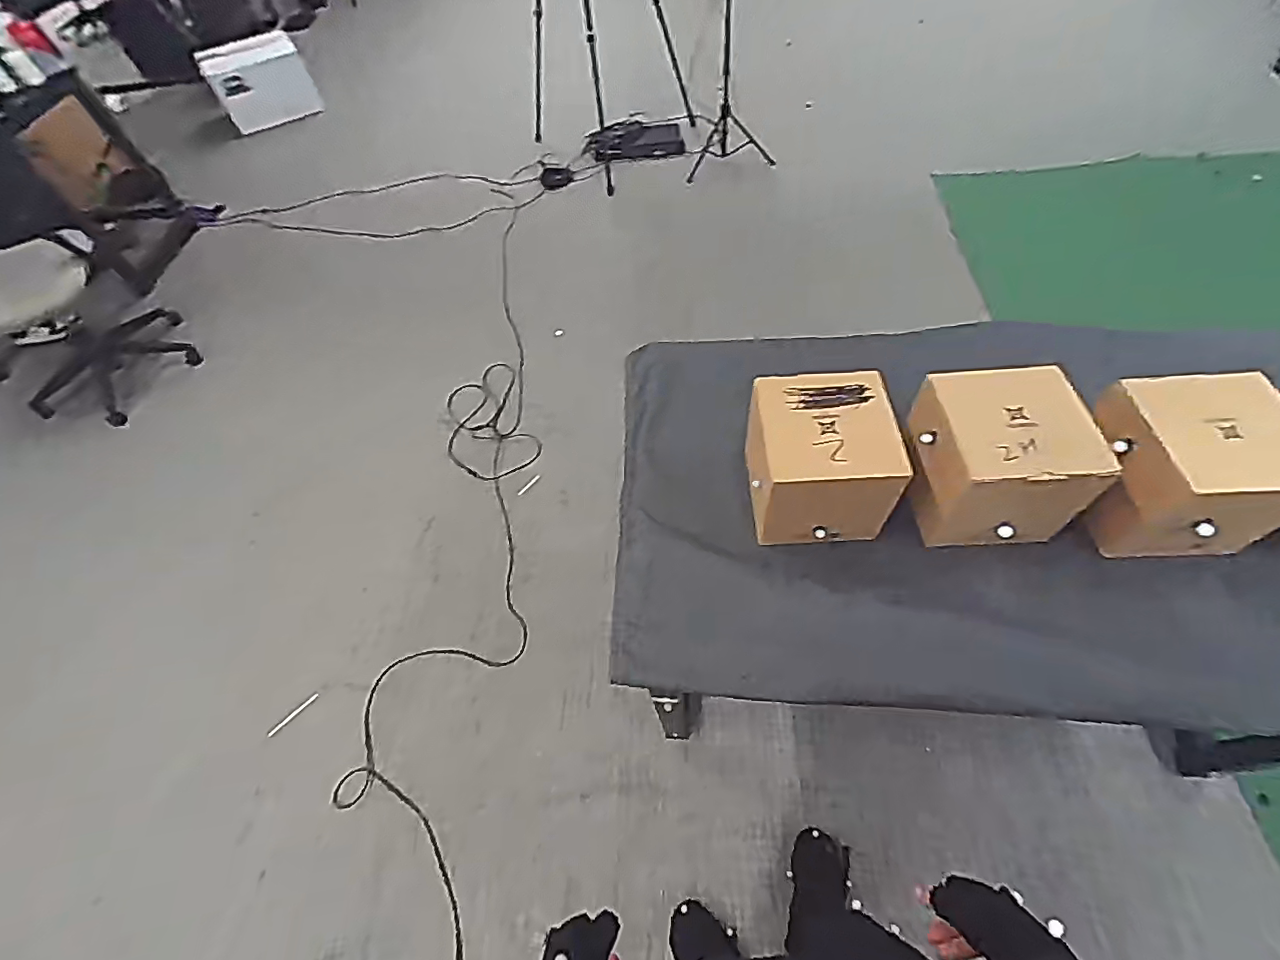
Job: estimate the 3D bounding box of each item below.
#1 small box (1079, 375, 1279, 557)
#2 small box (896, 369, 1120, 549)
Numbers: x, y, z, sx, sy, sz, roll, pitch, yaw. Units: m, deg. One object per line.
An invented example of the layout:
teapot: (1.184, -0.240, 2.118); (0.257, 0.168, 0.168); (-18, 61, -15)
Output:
small box: (0.688, -0.009, 0.691); (0.168, 0.176, 0.179); (-3, 55, 5)
small box: (0.466, -0.024, 0.725); (0.168, 0.176, 0.179); (-4, 55, 5)
